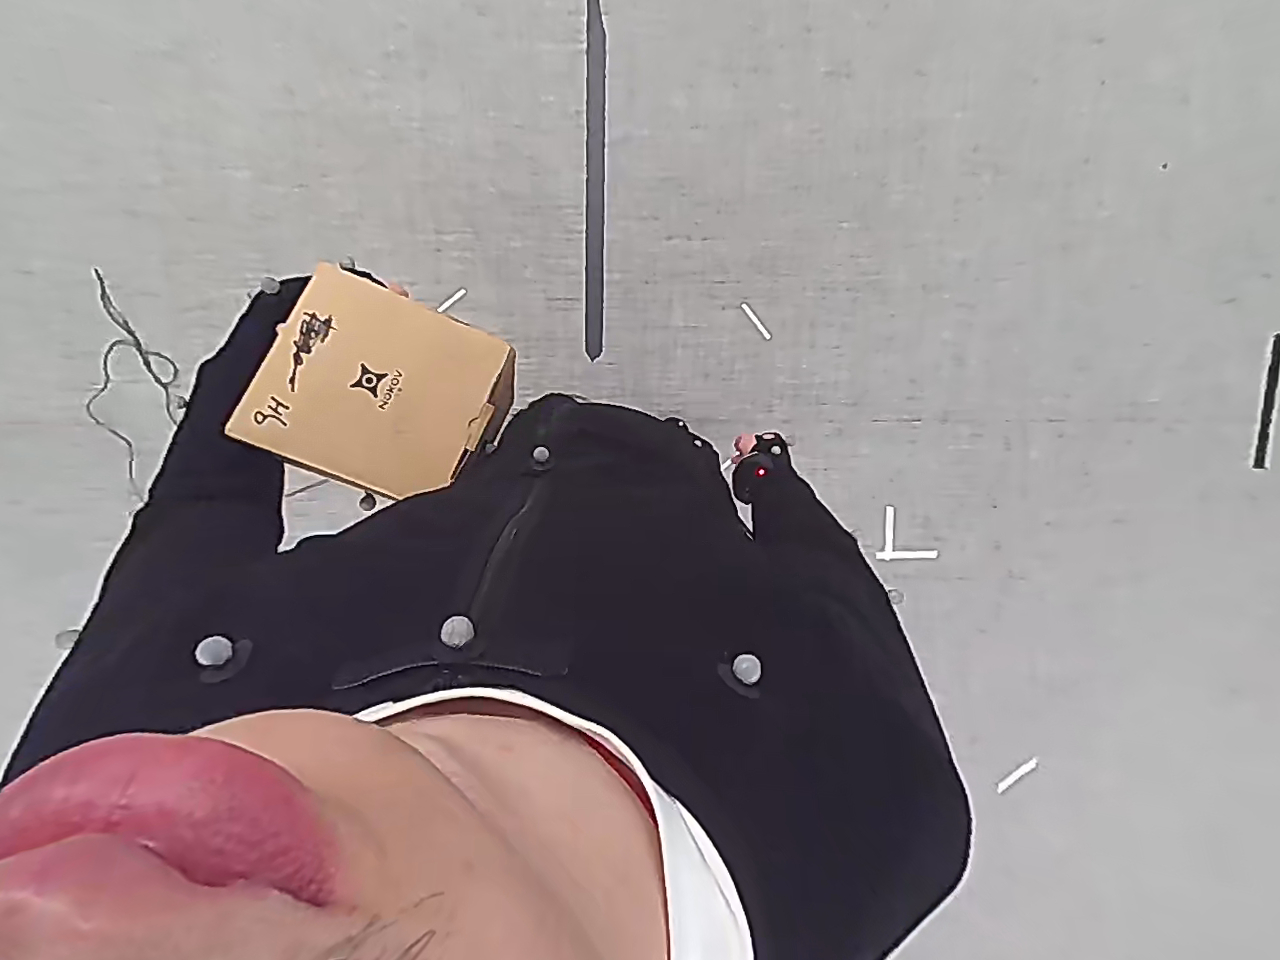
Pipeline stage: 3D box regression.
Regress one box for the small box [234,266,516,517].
[{"bbox_3d":[-0.237,-0.069,0.538,0.179,0.176,0.168,23,76,-10],"label":"small box"}]
